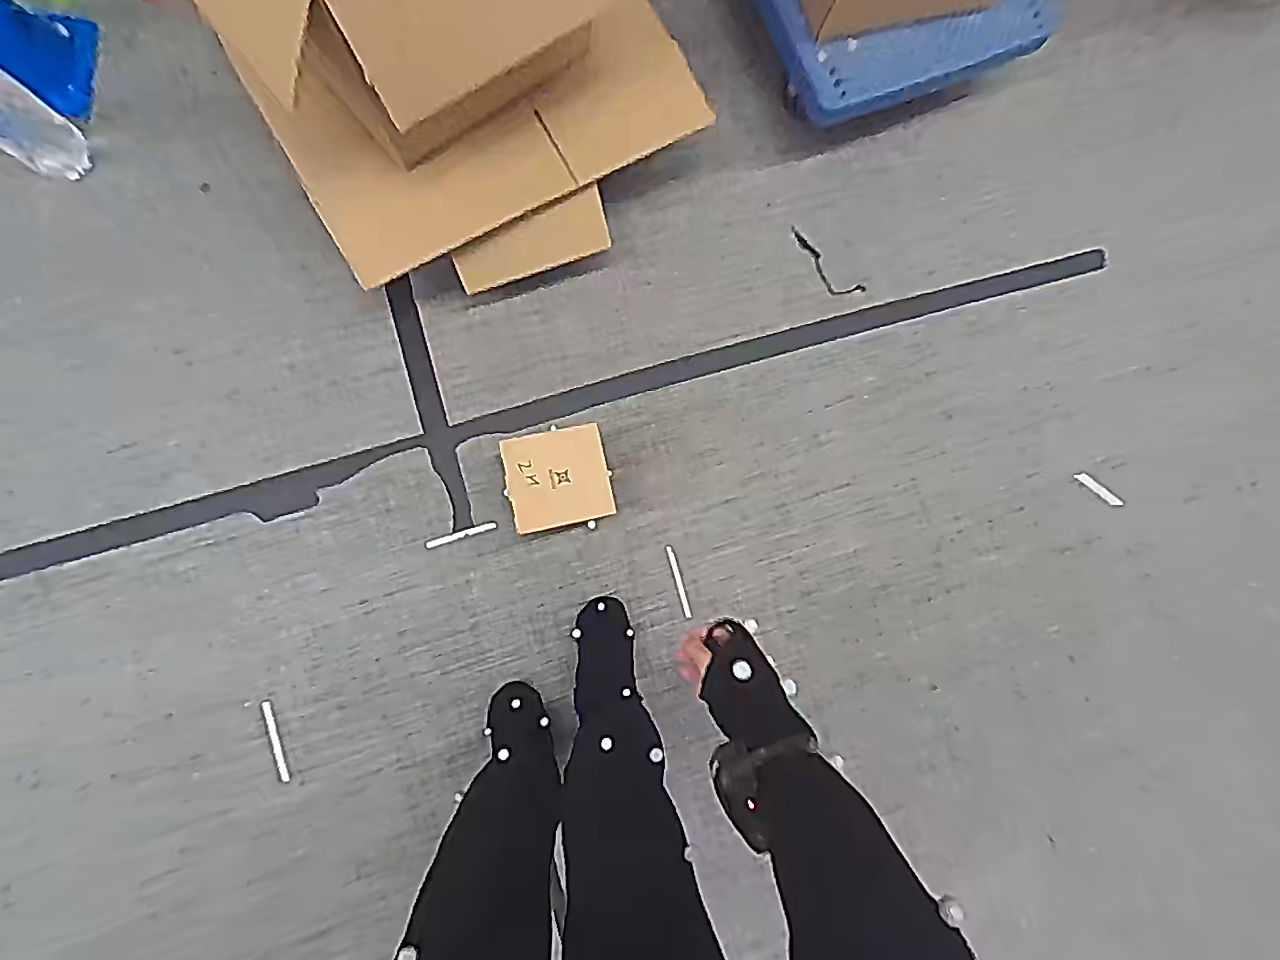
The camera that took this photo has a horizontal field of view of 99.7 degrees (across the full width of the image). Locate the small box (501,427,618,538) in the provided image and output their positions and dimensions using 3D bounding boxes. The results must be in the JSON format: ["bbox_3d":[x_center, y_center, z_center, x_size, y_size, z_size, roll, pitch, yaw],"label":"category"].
[{"bbox_3d":[-0.149,0.007,1.000,0.179,0.176,0.168,-12,87,-9],"label":"small box"}]
